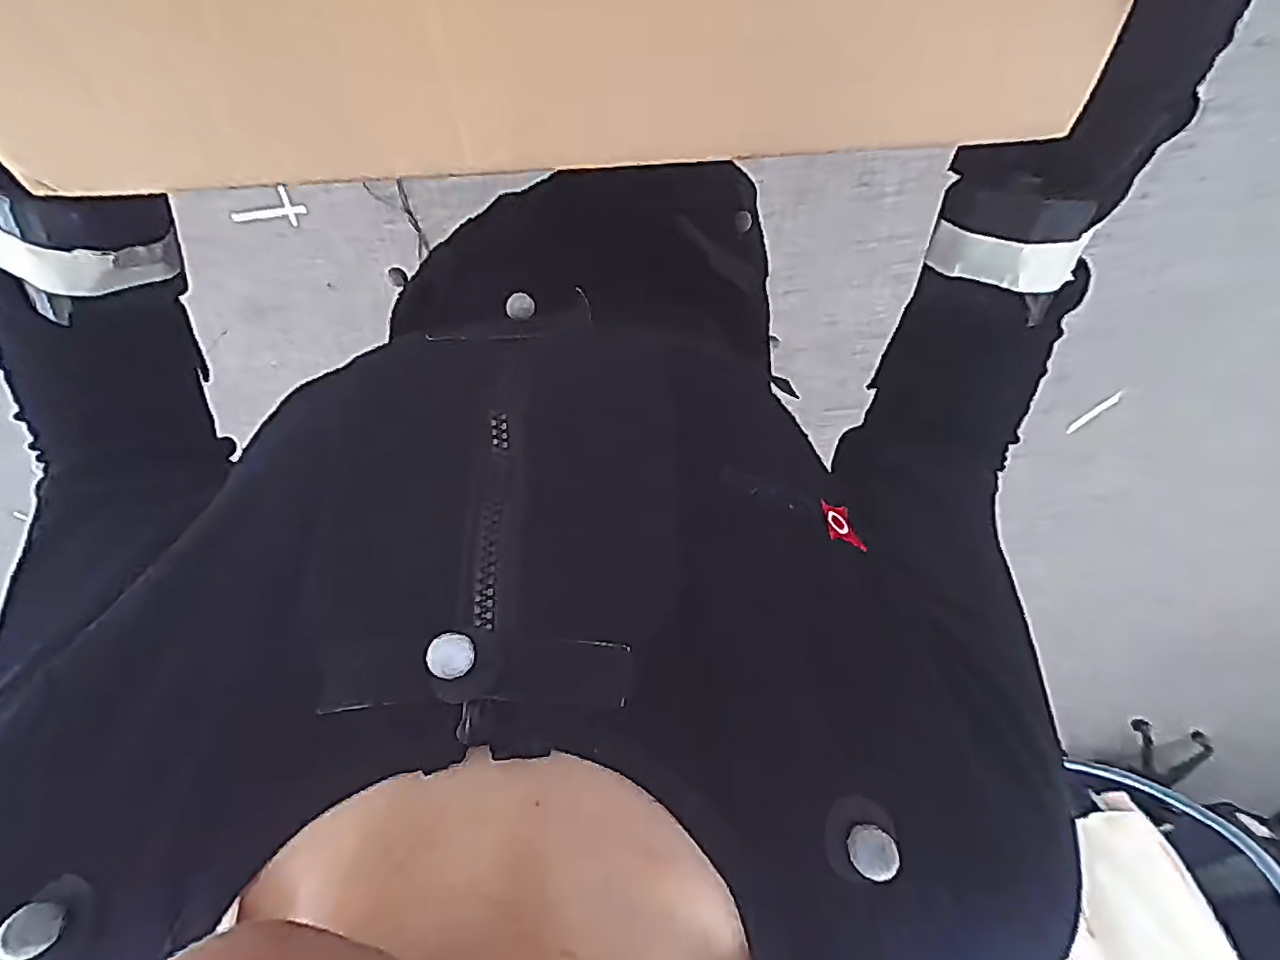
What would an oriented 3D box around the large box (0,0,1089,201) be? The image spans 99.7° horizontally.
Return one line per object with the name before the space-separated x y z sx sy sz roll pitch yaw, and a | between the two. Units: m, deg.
large box | -0.048 -0.343 0.208 0.408 0.320 0.320 -4 137 -1
